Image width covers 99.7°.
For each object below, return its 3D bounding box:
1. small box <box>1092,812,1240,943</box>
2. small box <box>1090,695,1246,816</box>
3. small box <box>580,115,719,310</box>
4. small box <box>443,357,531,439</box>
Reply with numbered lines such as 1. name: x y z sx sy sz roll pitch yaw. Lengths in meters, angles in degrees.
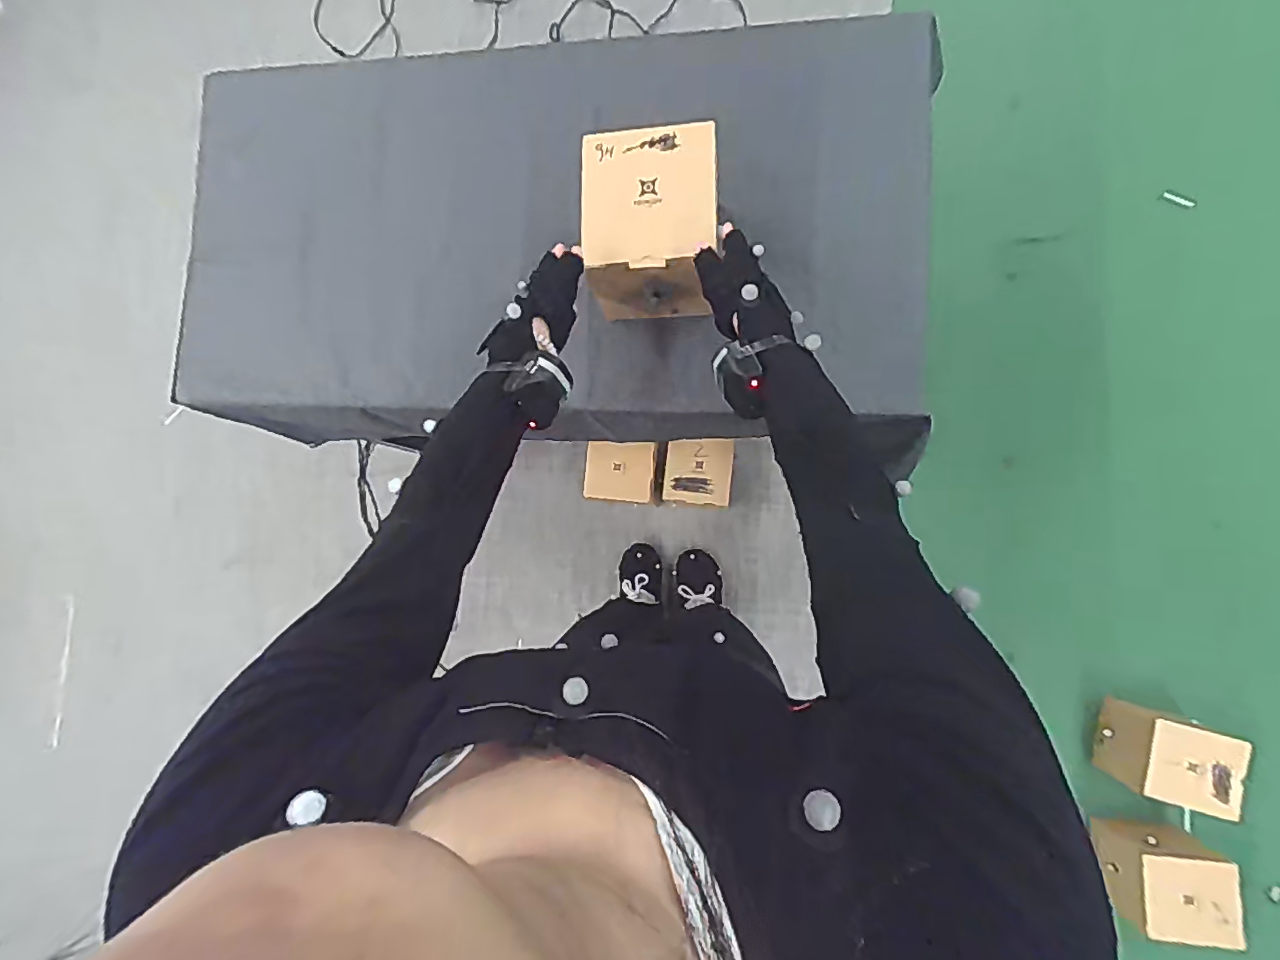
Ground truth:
1. small box: 1.136 0.858 1.186 0.179 0.176 0.168 0 85 8
2. small box: 1.166 0.602 1.207 0.179 0.176 0.168 13 86 10
3. small box: 0.020 -0.337 0.719 0.168 0.176 0.179 -1 85 8
4. small box: -0.416 -0.223 1.504 0.168 0.176 0.179 10 86 10
